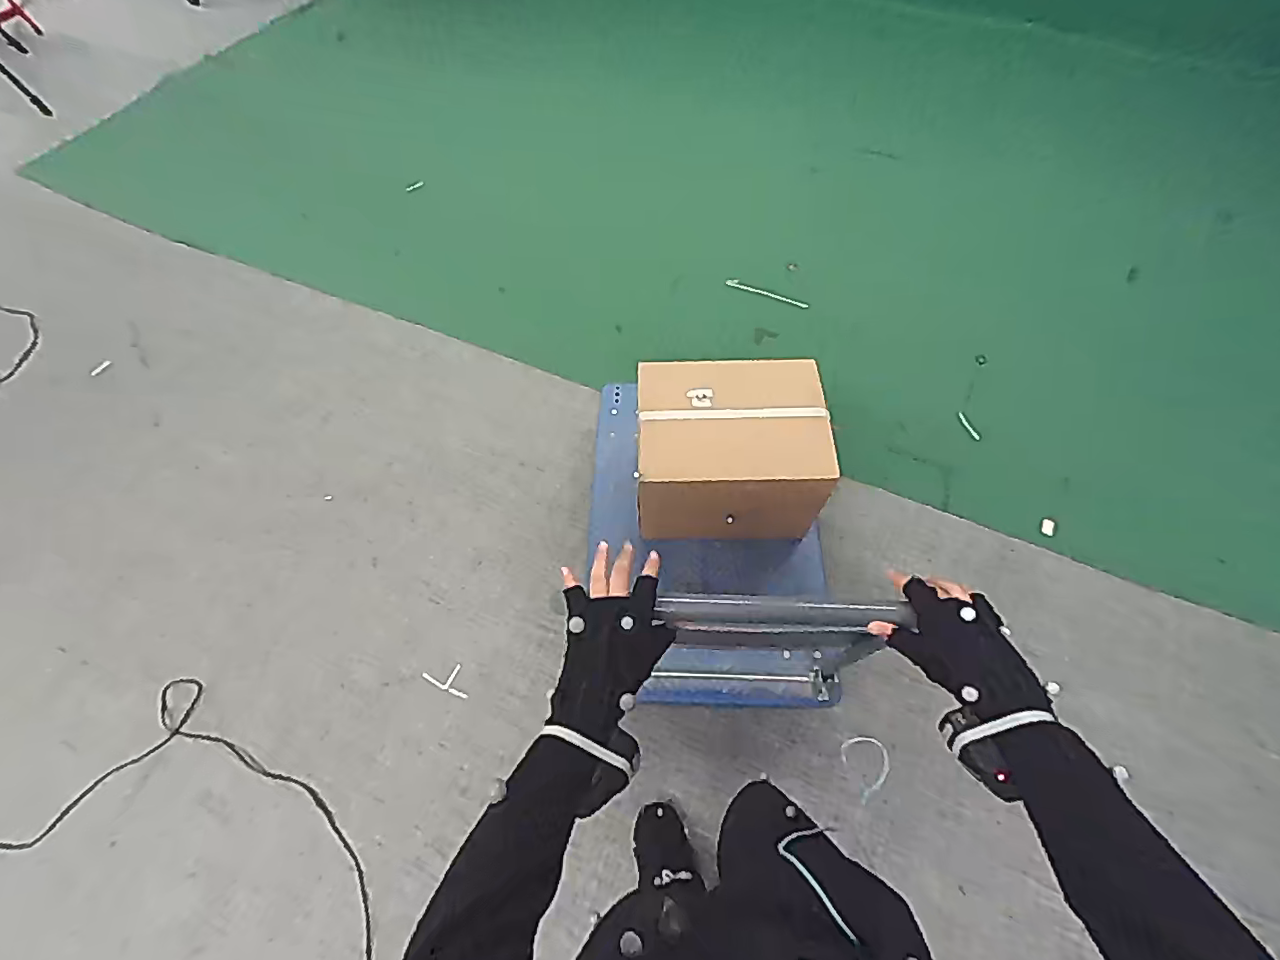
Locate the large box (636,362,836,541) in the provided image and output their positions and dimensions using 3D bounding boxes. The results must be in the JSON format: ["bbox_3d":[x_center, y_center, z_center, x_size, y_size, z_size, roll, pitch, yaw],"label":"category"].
[{"bbox_3d":[0.200,-0.056,1.294,0.408,0.320,0.320,-2,60,1],"label":"large box"}]
